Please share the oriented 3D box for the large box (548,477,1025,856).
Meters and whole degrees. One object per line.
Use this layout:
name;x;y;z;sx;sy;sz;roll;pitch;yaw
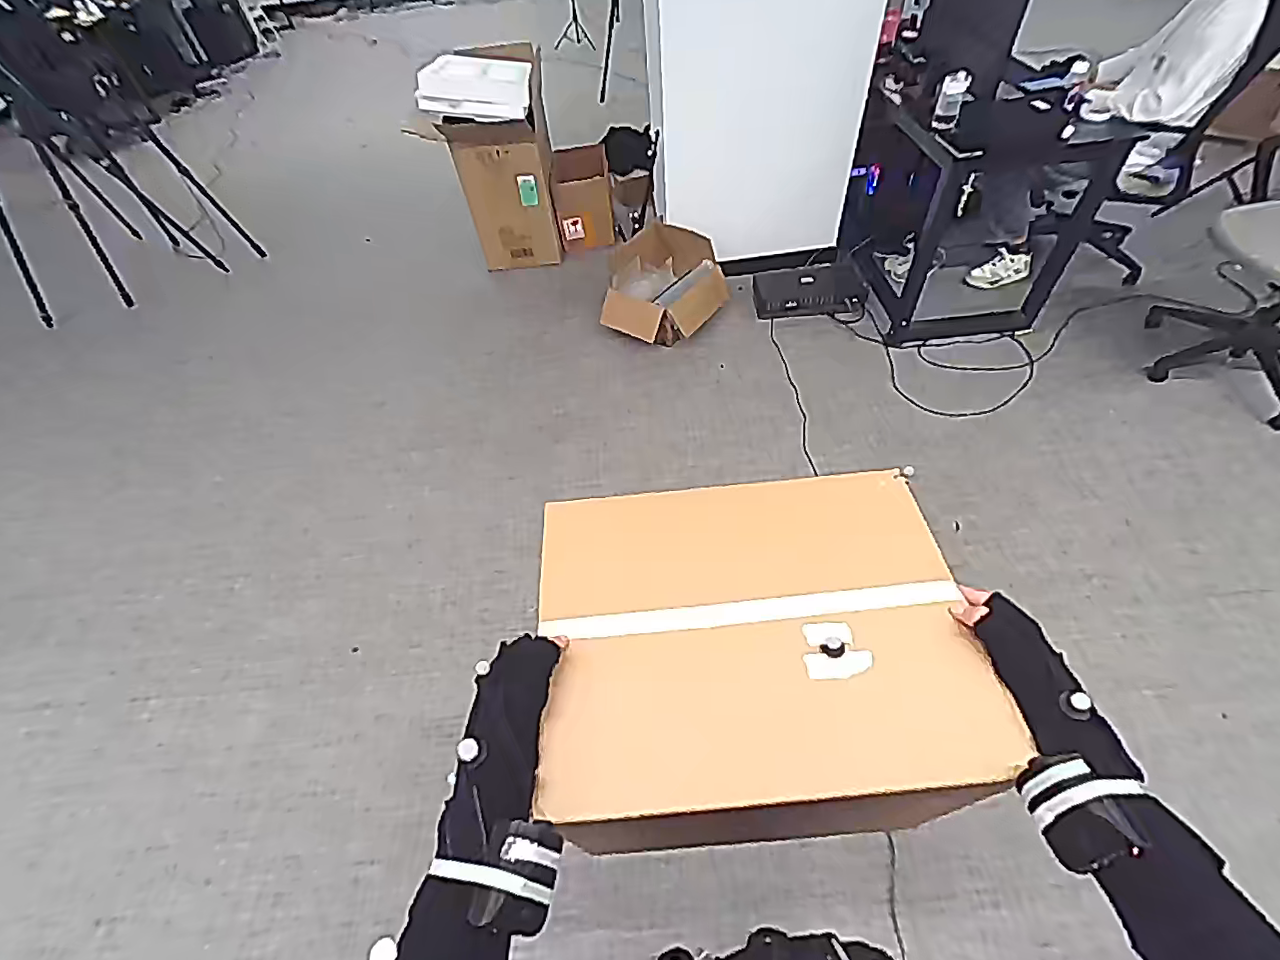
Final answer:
large box;0.117;0.229;0.647;0.408;0.320;0.320;-6;51;0
